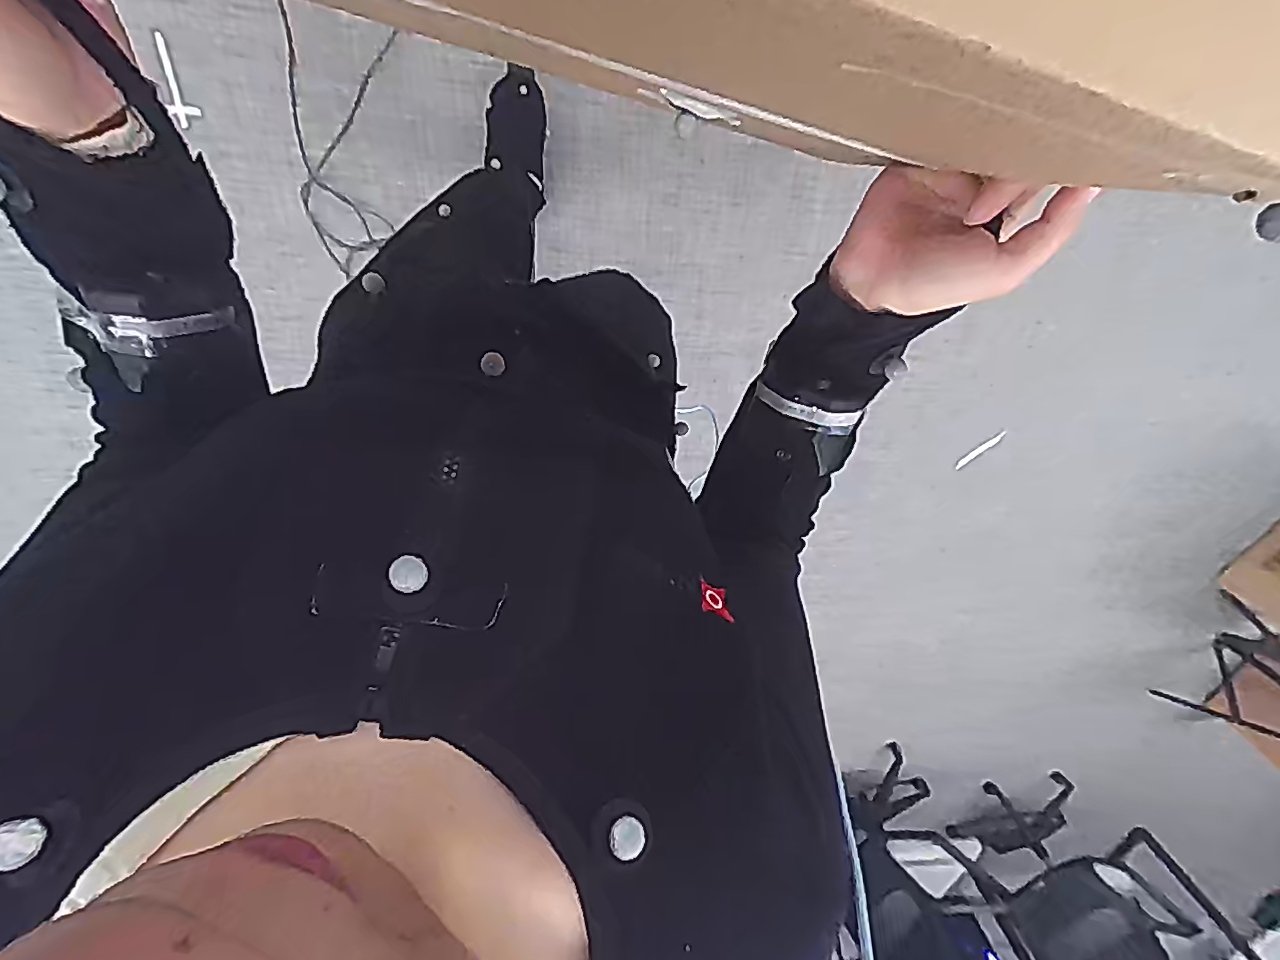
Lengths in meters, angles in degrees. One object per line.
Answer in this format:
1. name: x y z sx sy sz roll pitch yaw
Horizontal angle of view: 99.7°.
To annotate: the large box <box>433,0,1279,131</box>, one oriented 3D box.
1. large box: 0.006 -0.318 0.130 0.408 0.320 0.320 5 122 -15
